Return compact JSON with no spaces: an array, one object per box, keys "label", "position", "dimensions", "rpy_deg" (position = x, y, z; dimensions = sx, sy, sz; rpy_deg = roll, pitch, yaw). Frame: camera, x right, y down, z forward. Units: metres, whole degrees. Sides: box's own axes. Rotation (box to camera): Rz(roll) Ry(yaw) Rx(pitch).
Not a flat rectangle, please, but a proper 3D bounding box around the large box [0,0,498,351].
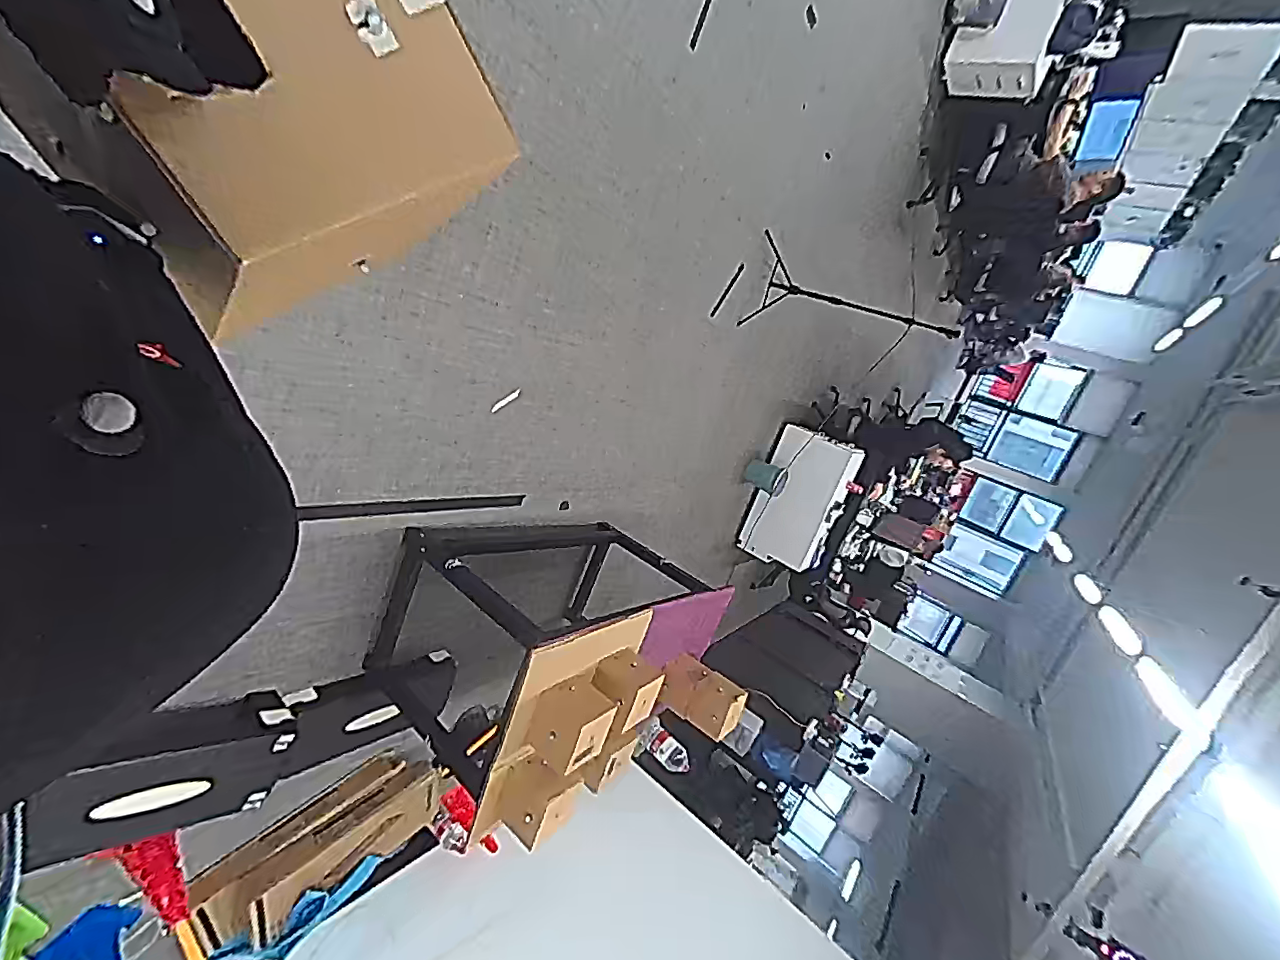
[{"label":"large box","position":[-0.429,-0.384,0.594],"dimensions":[0.320,0.408,0.320],"rpy_deg":[-43,117,-31]}]
